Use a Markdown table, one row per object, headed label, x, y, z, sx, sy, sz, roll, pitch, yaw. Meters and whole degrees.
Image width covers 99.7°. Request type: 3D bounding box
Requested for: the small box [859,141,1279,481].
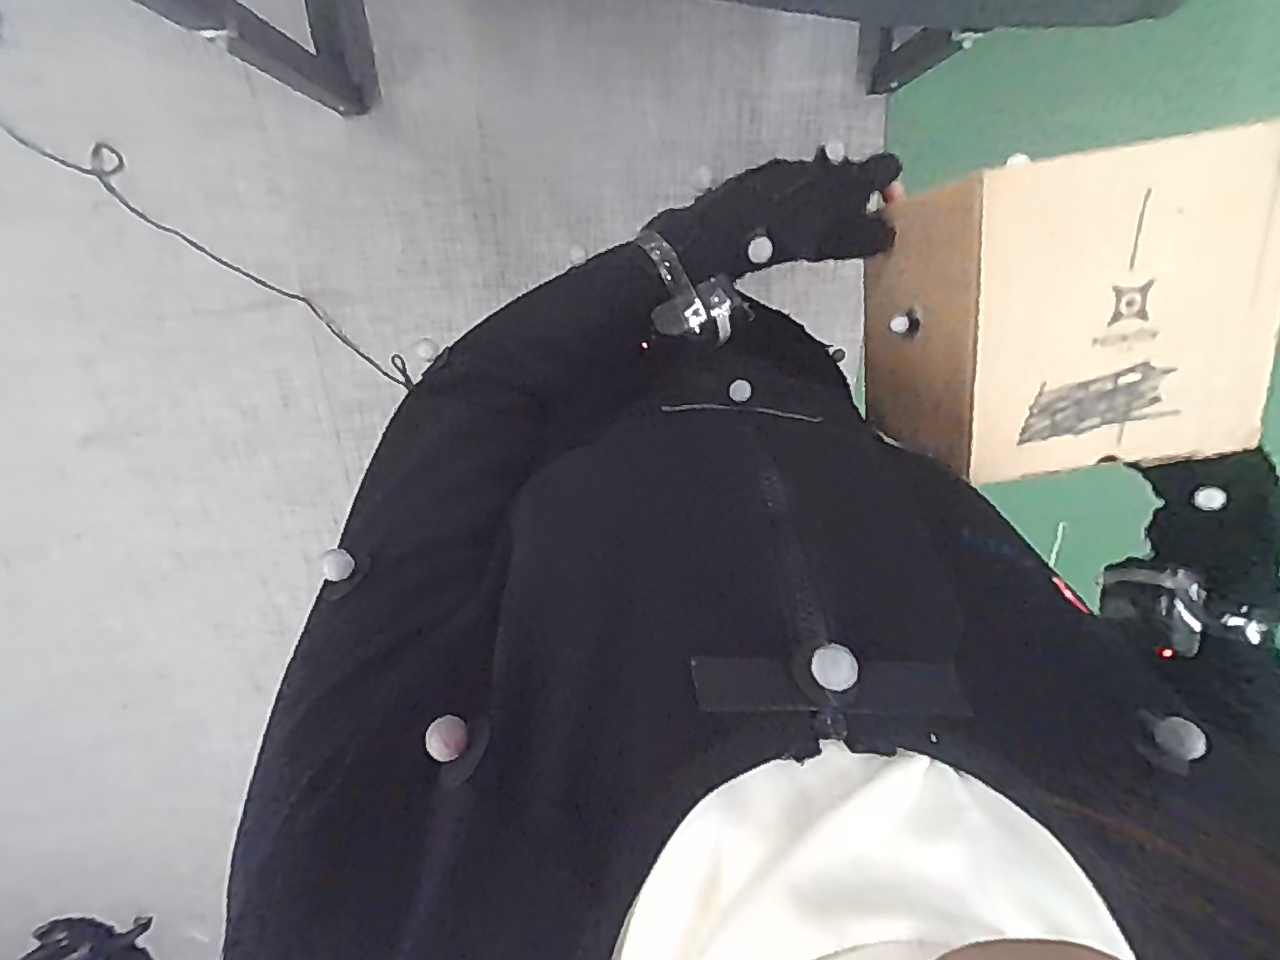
| label | x | y | z | sx | sy | sz | roll | pitch | yaw |
| --- | --- | --- | --- | --- | --- | --- | --- | --- | --- |
| small box | 0.270 | -0.113 | 0.388 | 0.168 | 0.176 | 0.179 | -6 | 107 | 3 |
